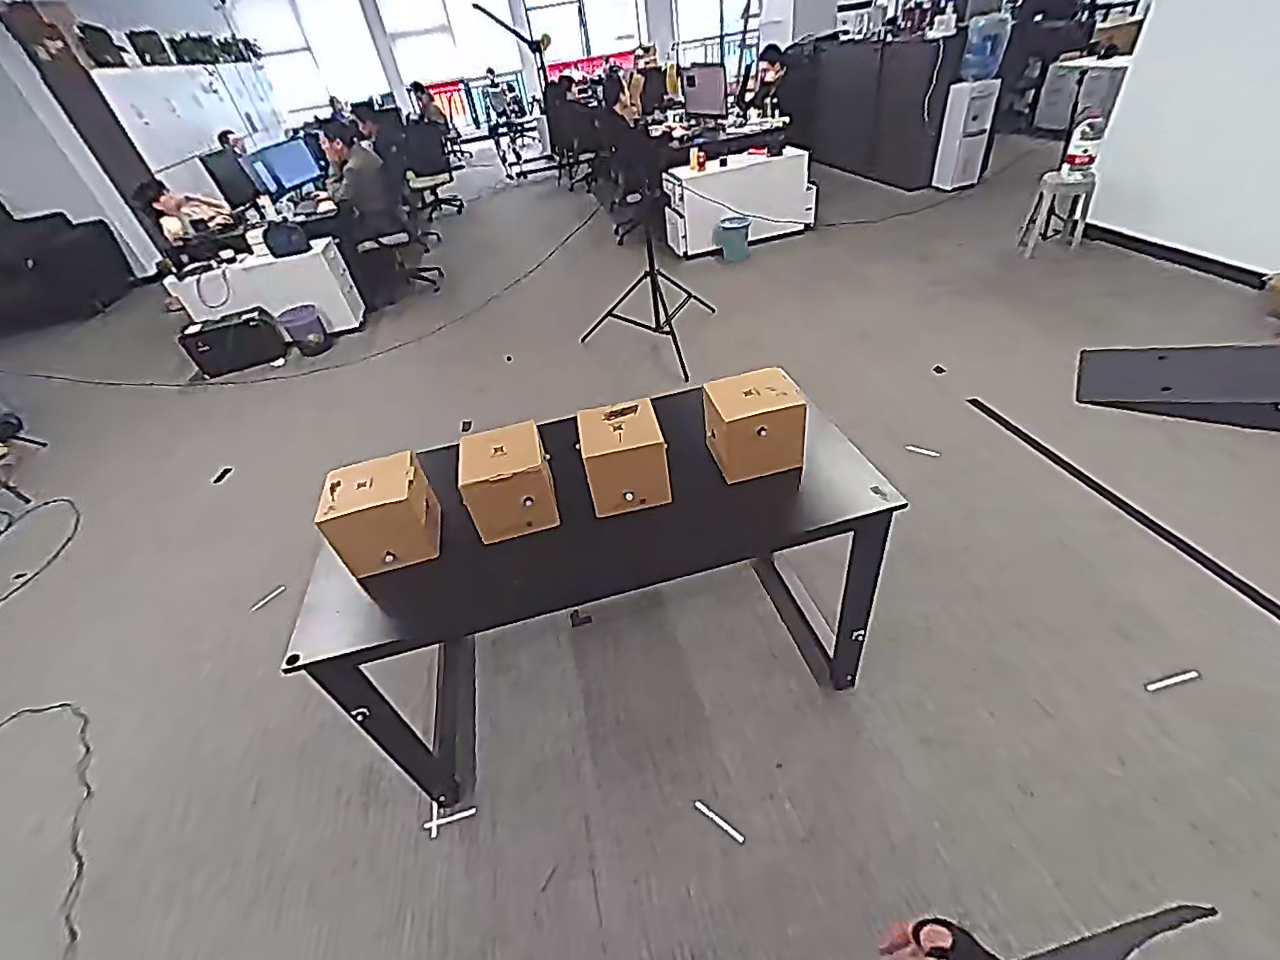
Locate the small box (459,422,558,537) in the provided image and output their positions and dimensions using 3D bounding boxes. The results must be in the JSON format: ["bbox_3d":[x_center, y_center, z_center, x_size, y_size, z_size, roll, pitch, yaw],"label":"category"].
[{"bbox_3d":[-0.279,0.005,1.159,0.168,0.176,0.179,-14,39,-7],"label":"small box"}]

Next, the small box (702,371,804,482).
[{"bbox_3d":[0.247,-0.115,1.198,0.179,0.176,0.168,-13,40,-4],"label":"small box"}]

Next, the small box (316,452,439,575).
[{"bbox_3d":[-0.531,0.070,1.125,0.179,0.176,0.168,-14,39,-8],"label":"small box"}]

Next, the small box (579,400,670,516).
[{"bbox_3d":[-0.035,-0.047,1.172,0.168,0.176,0.179,-11,40,-3],"label":"small box"}]
